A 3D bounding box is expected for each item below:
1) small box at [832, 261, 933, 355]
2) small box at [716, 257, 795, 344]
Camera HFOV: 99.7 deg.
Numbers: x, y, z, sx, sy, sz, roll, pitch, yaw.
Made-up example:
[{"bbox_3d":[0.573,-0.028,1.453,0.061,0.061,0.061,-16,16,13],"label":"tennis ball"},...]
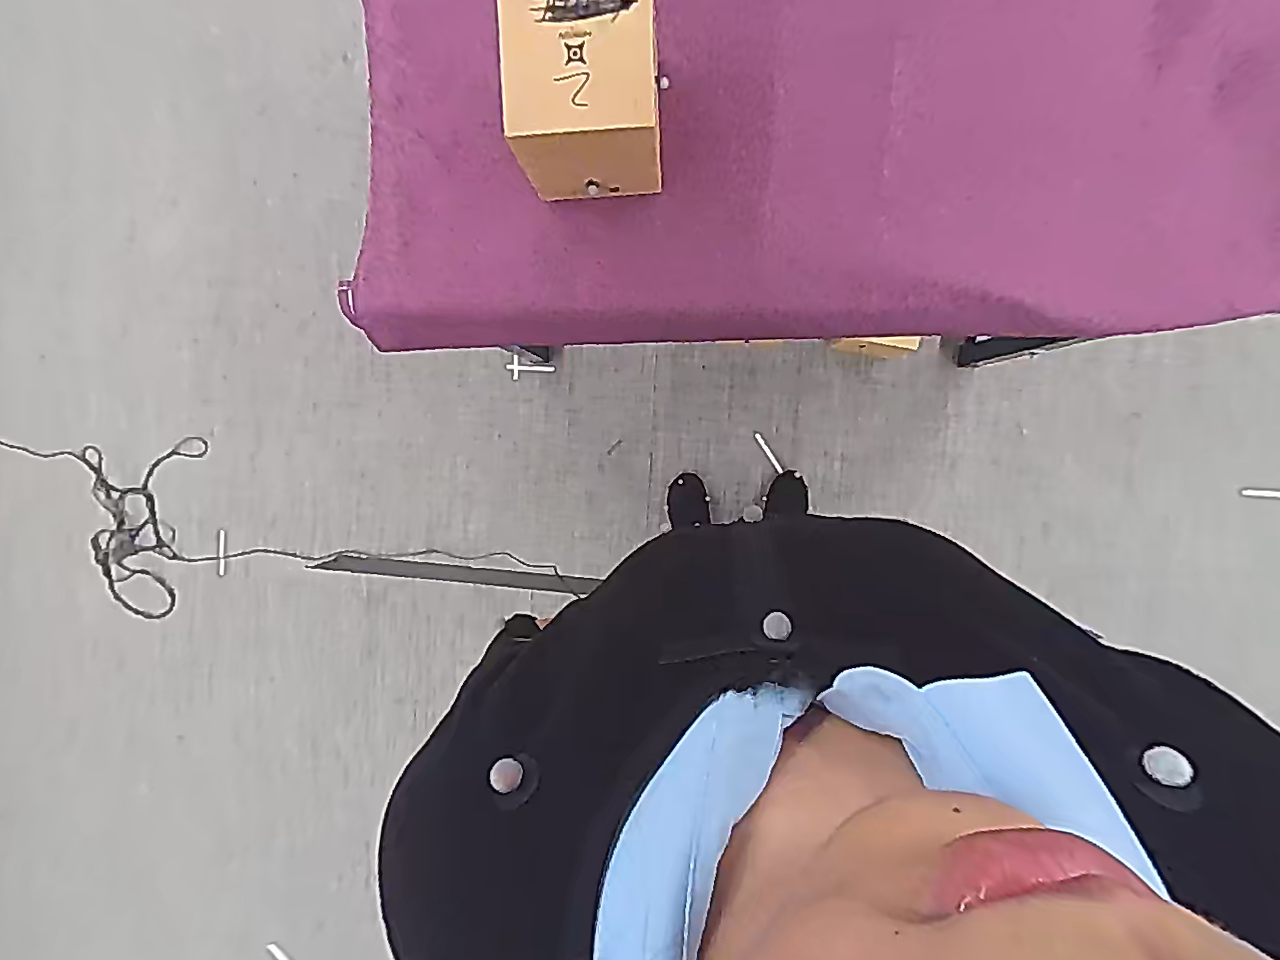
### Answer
[{"bbox_3d":[0.590,-0.417,1.341,0.168,0.176,0.179,11,95,4],"label":"small box"},{"bbox_3d":[0.283,-0.443,1.360,0.168,0.176,0.179,4,95,3],"label":"small box"}]
